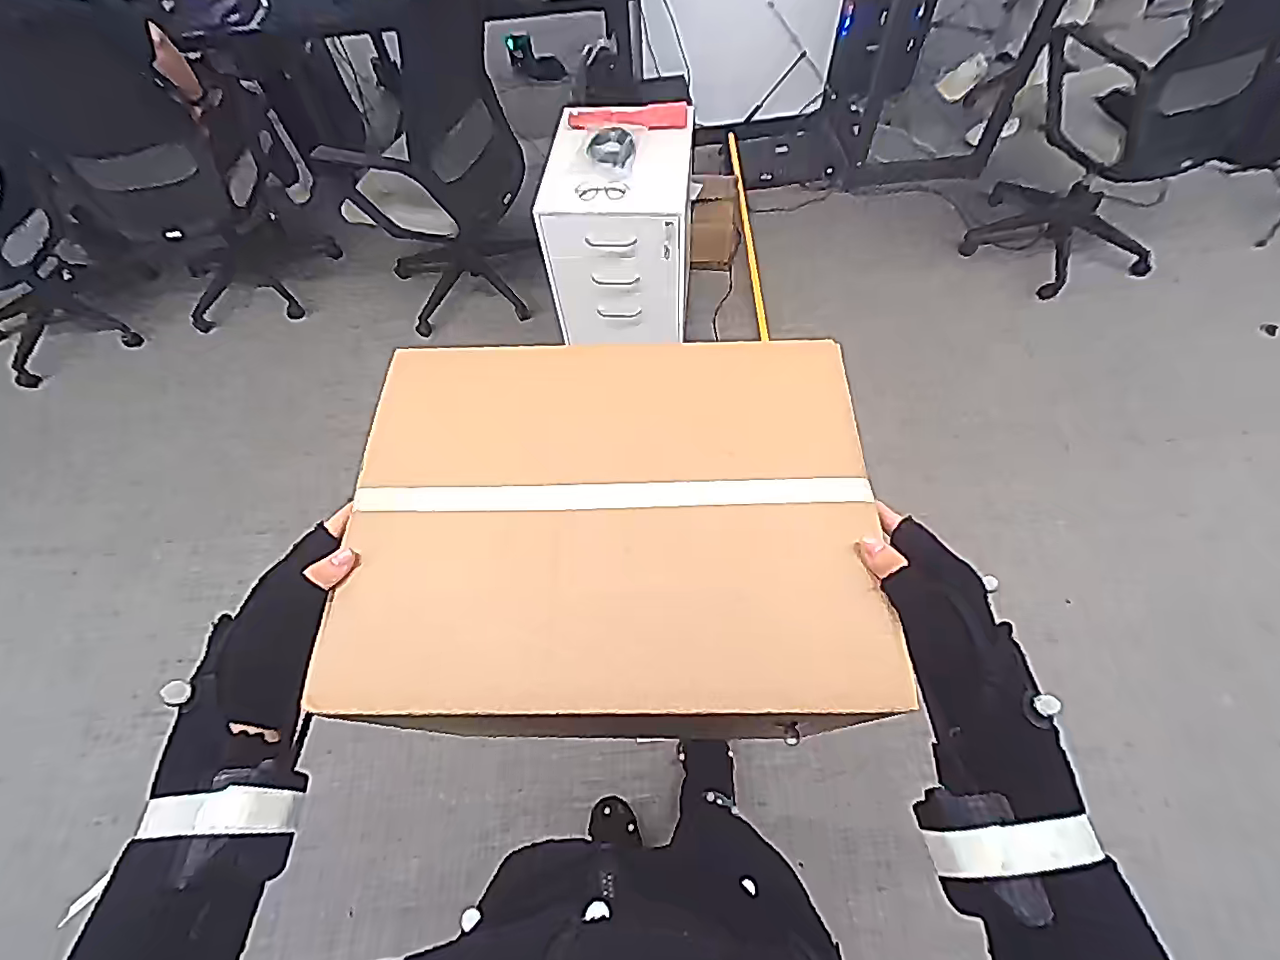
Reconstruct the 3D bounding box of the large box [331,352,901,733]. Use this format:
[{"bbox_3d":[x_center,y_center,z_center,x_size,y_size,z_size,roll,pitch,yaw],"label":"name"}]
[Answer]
[{"bbox_3d":[-0.014,0.090,0.571,0.408,0.320,0.320,-1,62,2],"label":"large box"}]
